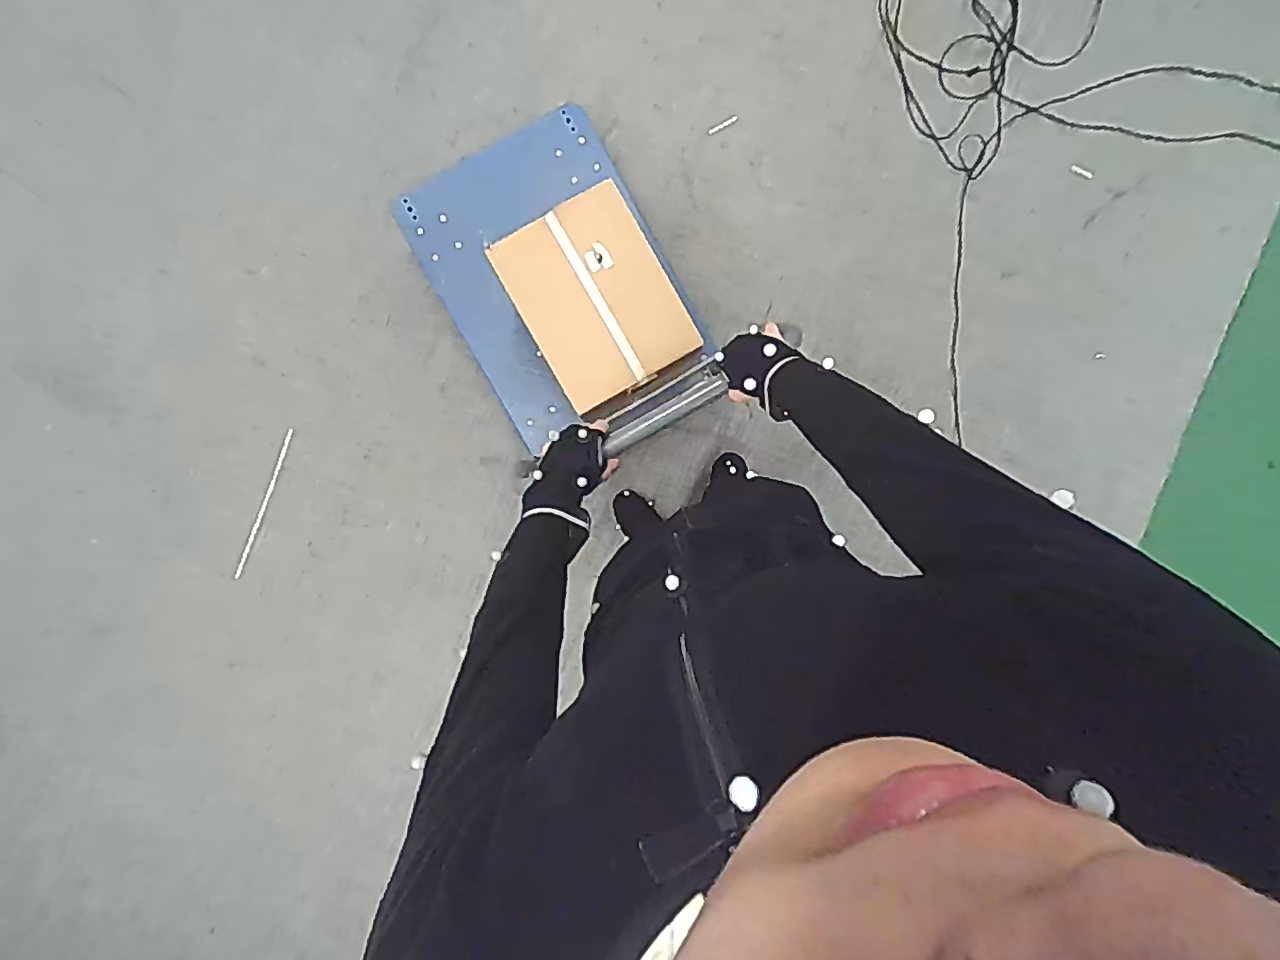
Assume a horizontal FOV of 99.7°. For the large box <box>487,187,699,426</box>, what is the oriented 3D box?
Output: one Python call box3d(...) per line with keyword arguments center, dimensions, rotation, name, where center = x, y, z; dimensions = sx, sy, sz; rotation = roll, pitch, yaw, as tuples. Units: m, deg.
box3d(center=(-0.100, -0.386, 1.310), dimensions=(0.320, 0.320, 0.408), rotation=(-29, 90, -1), name="large box")
